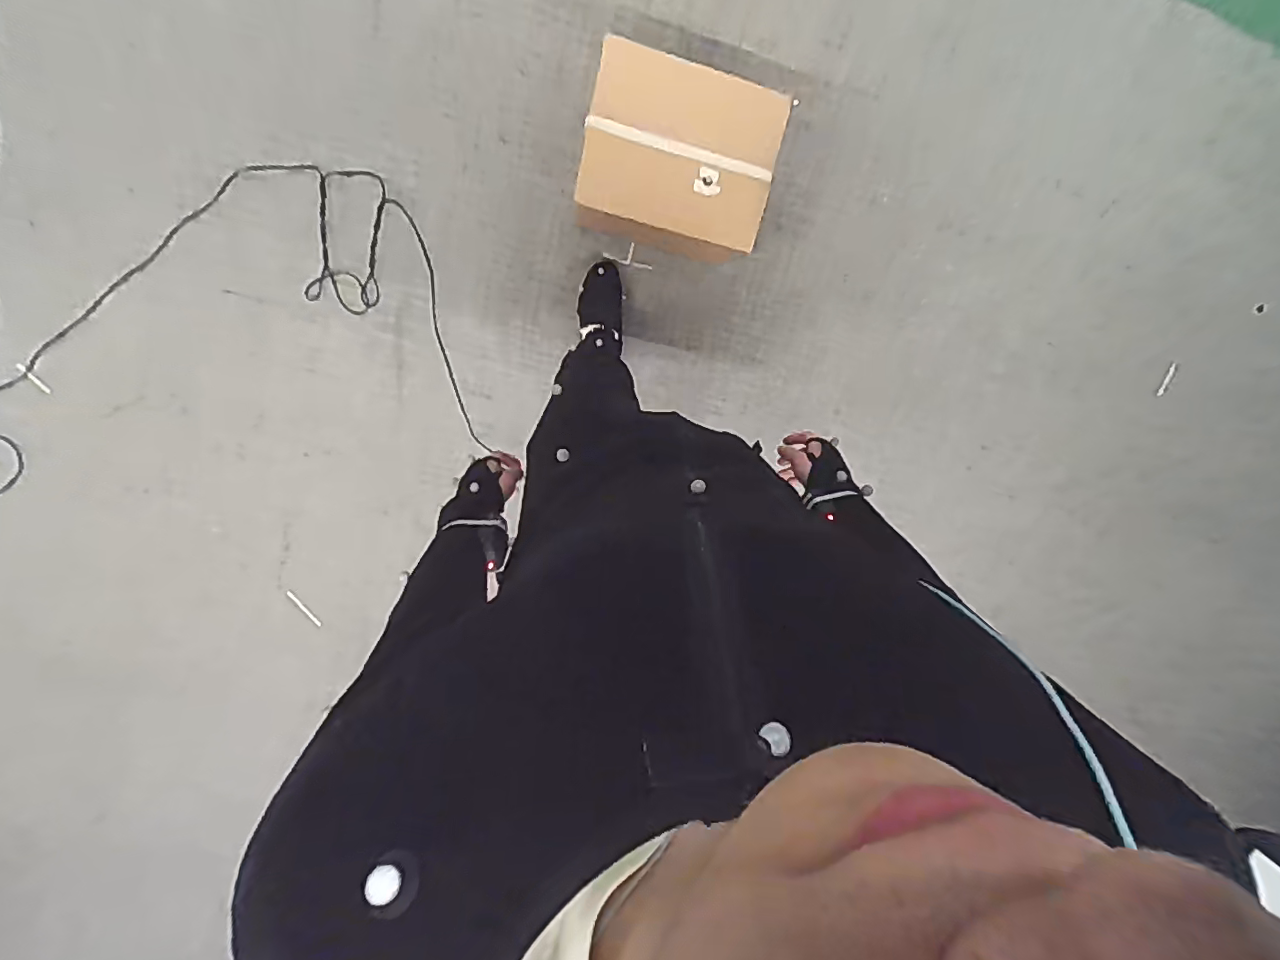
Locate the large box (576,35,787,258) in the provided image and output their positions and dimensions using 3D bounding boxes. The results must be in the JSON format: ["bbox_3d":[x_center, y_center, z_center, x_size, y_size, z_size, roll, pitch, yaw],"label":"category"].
[{"bbox_3d":[0.069,-0.745,1.277,0.408,0.320,0.320,10,105,-10],"label":"large box"}]
